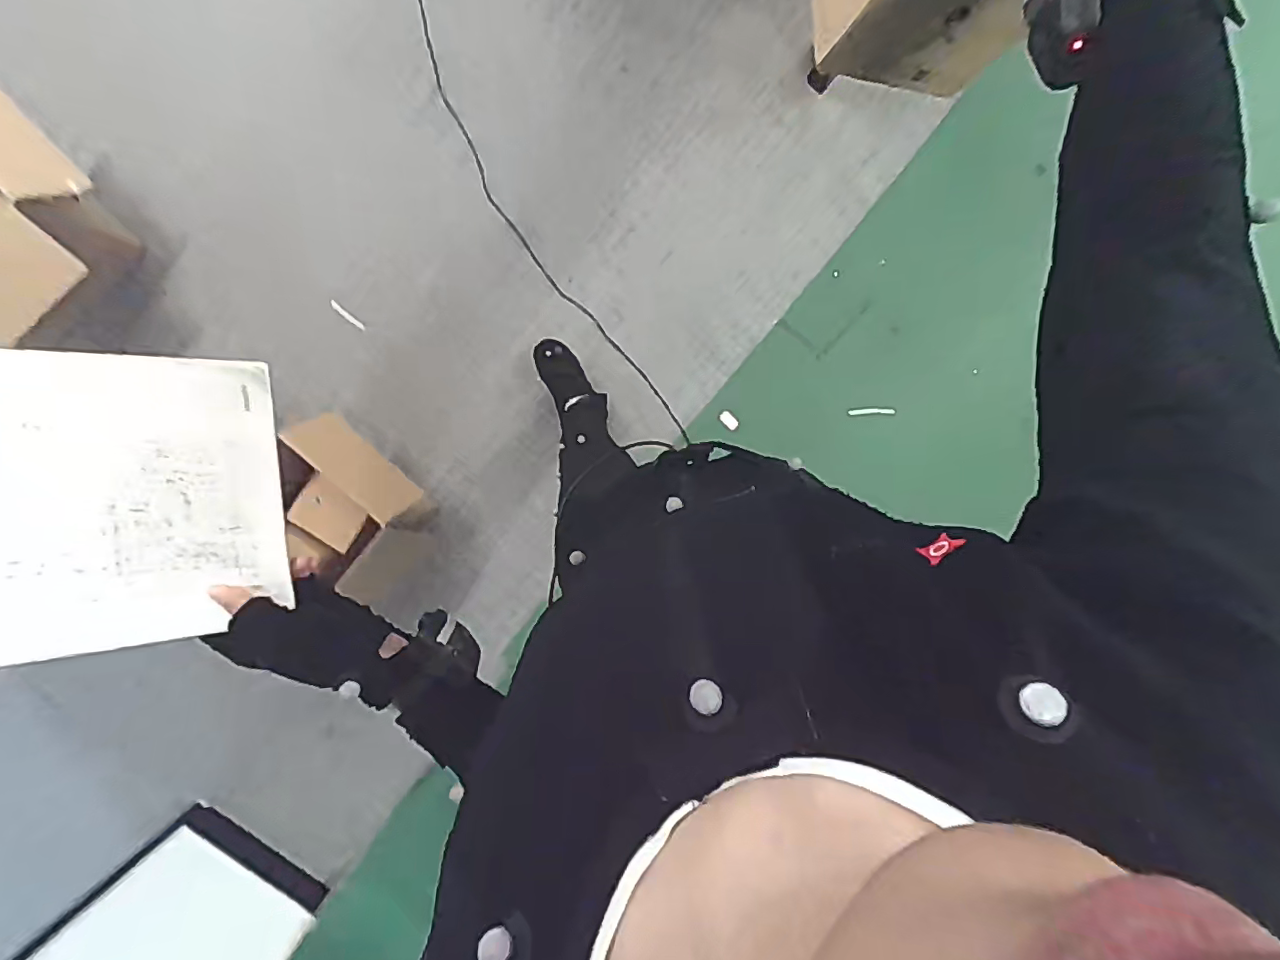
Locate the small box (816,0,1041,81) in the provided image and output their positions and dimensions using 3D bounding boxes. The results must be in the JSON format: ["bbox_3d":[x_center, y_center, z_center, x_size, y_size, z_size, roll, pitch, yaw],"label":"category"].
[{"bbox_3d":[0.262,-0.483,0.450,0.168,0.176,0.179,-2,89,-17],"label":"small box"}]
